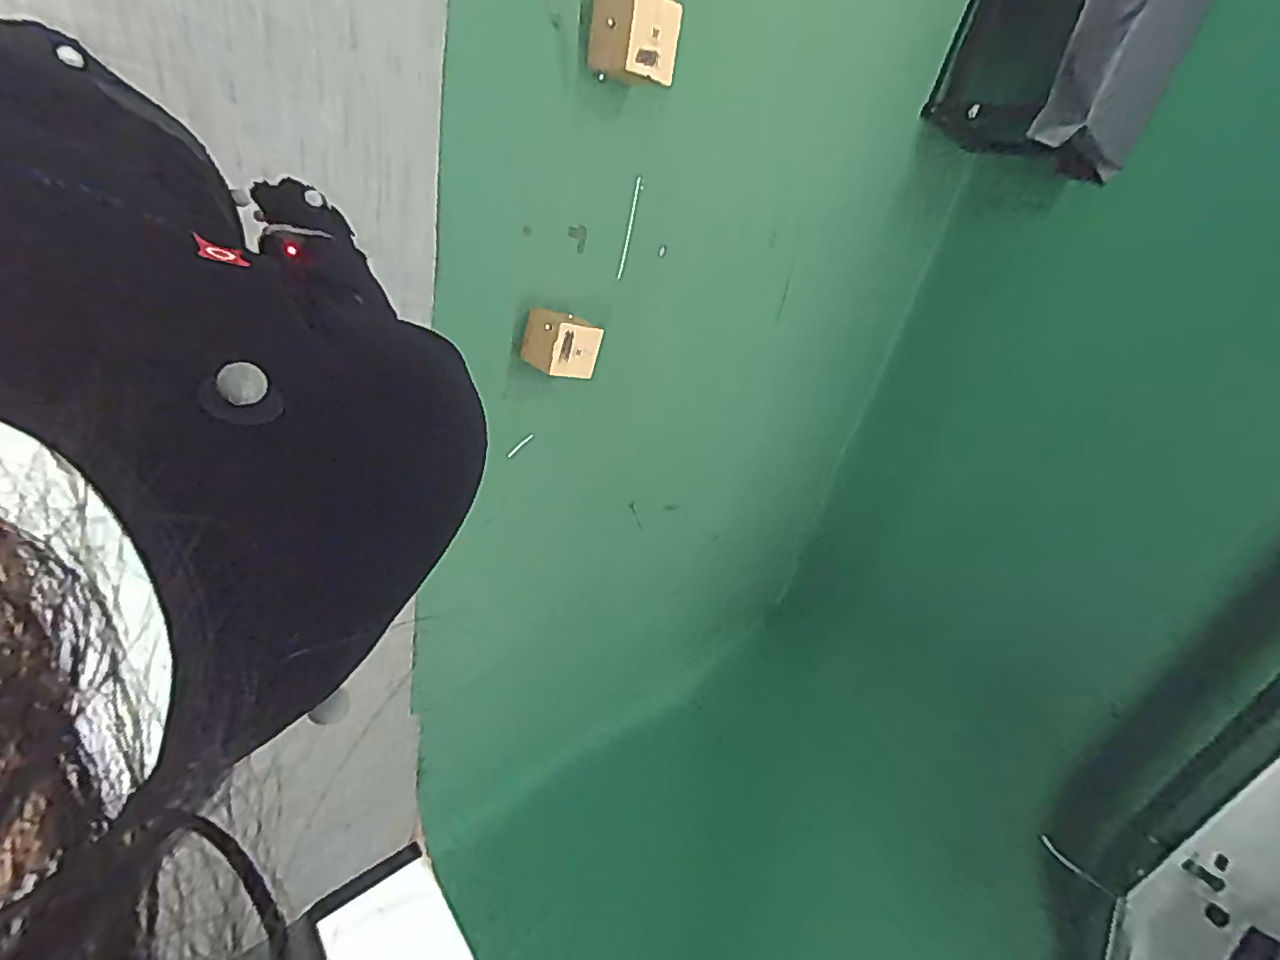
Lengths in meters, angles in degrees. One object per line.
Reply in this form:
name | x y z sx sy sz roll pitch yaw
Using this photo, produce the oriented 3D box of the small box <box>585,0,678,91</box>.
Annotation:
small box | -0.029 -1.156 1.431 0.168 0.176 0.179 -15 126 -41
